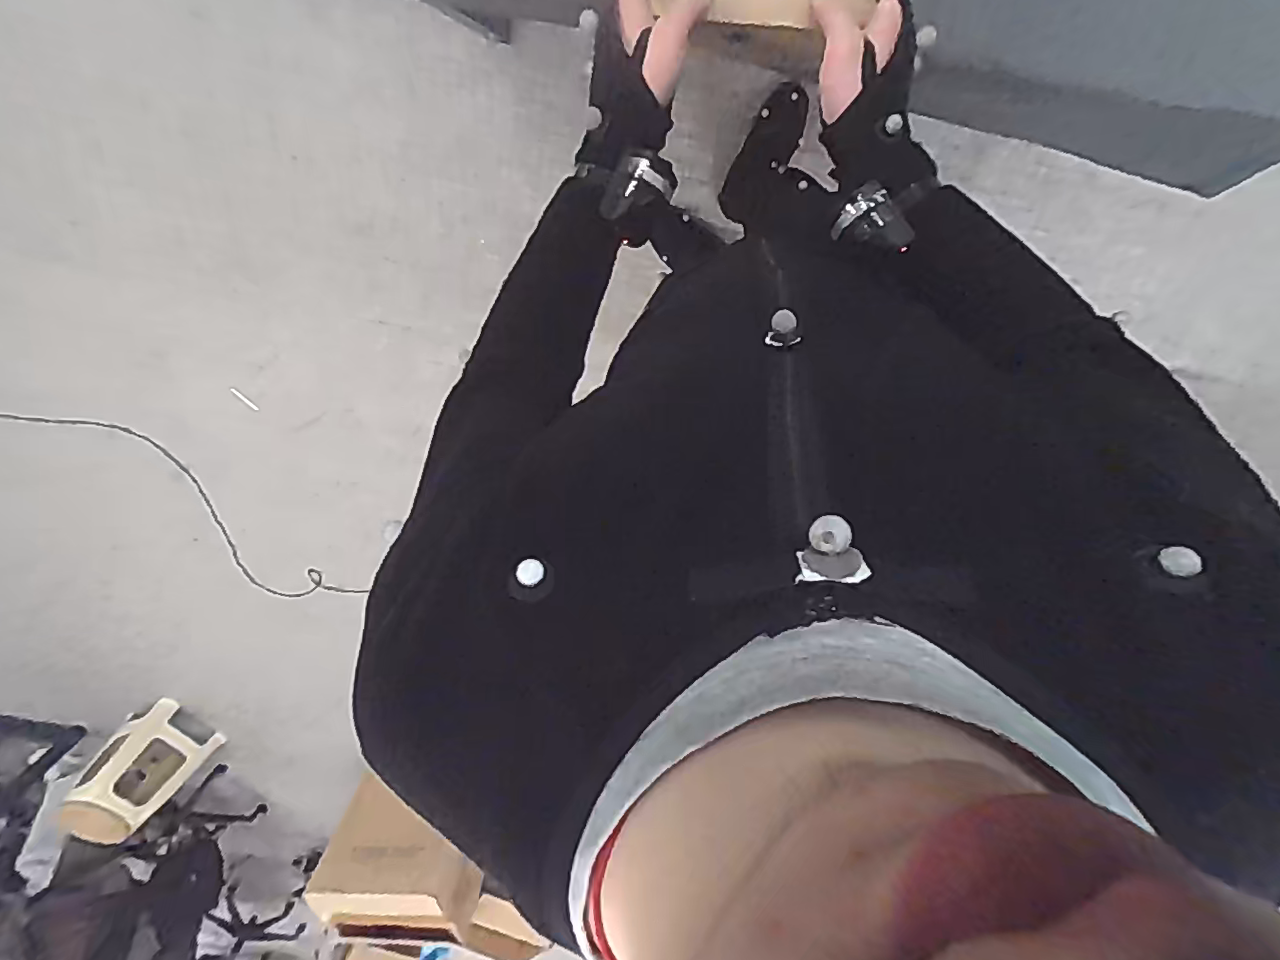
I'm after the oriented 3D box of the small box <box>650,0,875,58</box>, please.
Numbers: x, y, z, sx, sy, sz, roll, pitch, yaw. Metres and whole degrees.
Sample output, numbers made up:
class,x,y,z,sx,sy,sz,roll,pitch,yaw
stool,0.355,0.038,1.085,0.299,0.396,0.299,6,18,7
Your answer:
class,x,y,z,sx,sy,sz,roll,pitch,yaw
small box,0.099,-0.462,0.436,0.179,0.176,0.168,5,120,0
